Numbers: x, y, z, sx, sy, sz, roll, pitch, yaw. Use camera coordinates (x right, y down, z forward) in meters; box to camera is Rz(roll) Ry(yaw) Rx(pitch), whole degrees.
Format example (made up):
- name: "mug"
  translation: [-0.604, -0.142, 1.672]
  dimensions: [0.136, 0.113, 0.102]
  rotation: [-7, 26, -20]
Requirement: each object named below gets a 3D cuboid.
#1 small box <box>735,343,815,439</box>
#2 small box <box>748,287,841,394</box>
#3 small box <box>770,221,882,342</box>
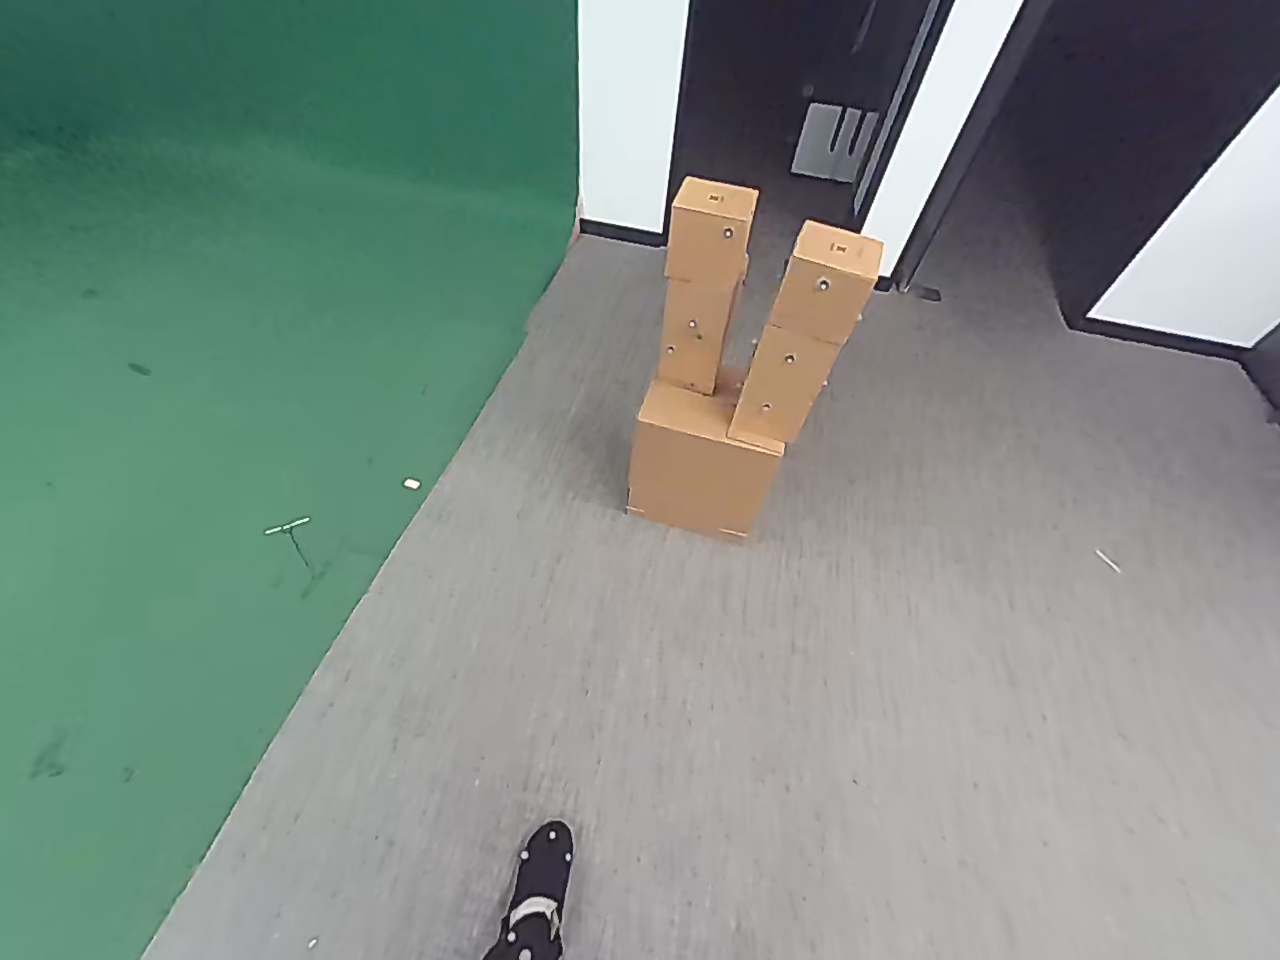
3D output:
- name: "small box"
  translation: [0.360, -0.232, 1.436]
  dimensions: [0.179, 0.176, 0.168]
  rotation: [16, 54, 8]
- name: "small box"
  translation: [0.378, -0.333, 1.308]
  dimensions: [0.179, 0.176, 0.168]
  rotation: [17, 53, 8]
- name: "small box"
  translation: [0.398, -0.427, 1.177]
  dimensions: [0.179, 0.176, 0.168]
  rotation: [21, 54, 9]
